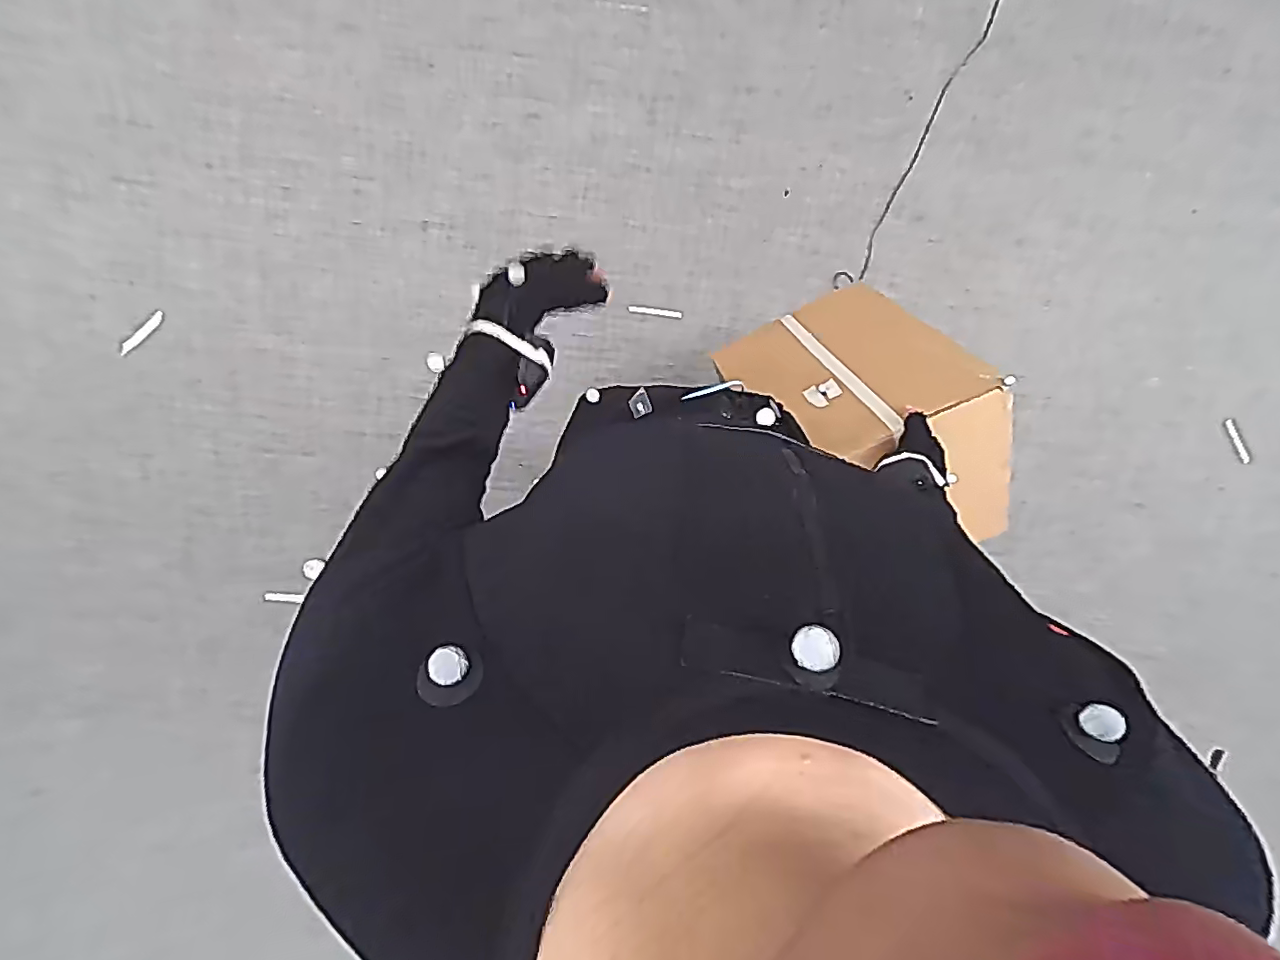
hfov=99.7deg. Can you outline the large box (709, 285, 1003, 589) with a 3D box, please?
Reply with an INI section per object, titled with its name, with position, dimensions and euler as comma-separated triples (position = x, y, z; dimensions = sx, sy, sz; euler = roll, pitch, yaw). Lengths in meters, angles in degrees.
[large box]
position = 0.364, -0.087, 0.980
dimensions = 0.320, 0.408, 0.320
euler = -25, 130, 7
